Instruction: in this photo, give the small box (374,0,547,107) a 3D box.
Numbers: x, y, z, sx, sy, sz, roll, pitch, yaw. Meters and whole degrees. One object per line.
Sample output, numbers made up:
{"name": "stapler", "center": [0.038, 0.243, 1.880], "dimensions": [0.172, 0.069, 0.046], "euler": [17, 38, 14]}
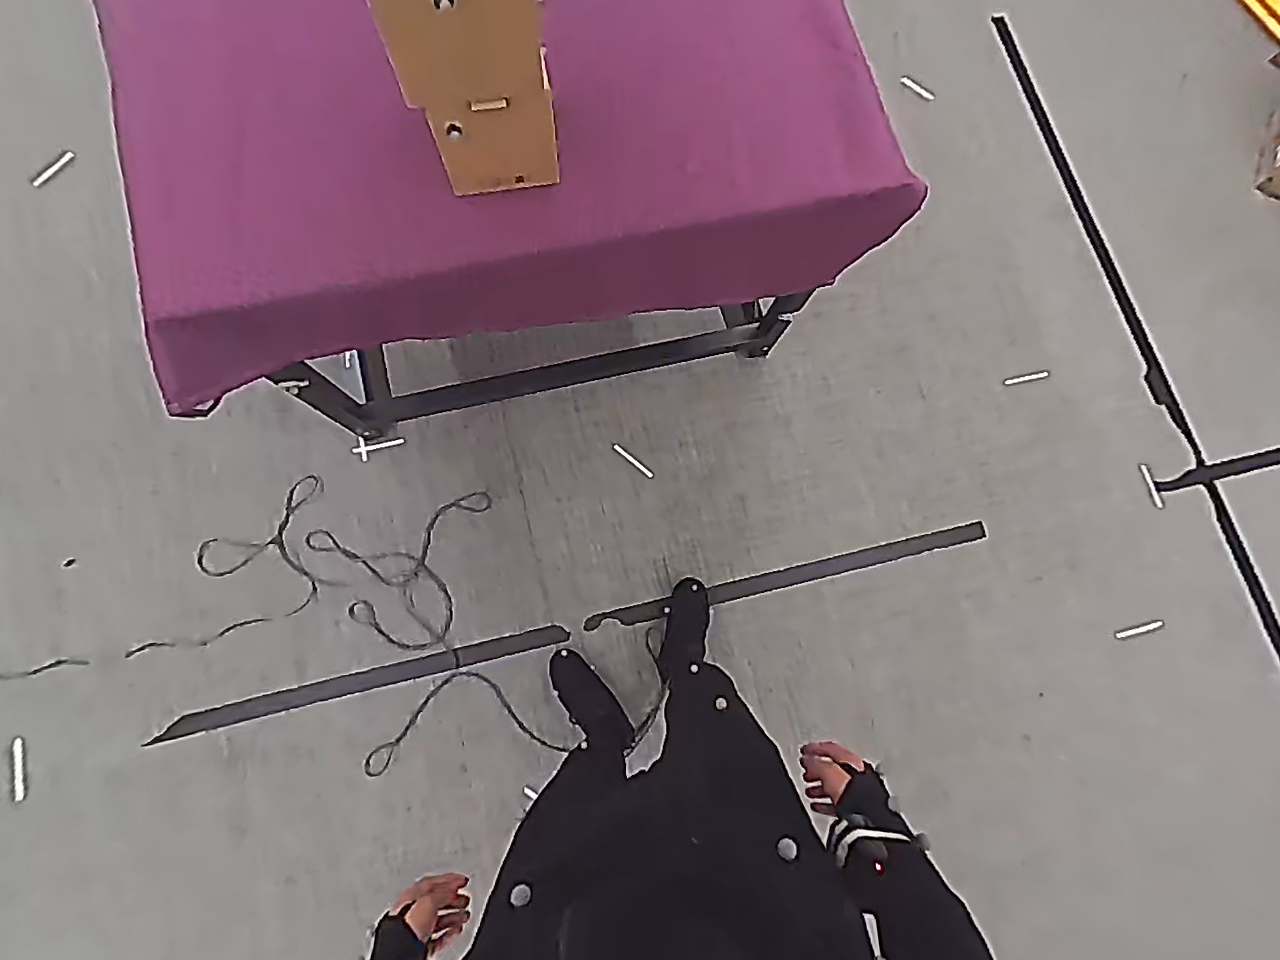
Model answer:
{"name": "small box", "center": [-0.213, -0.573, 0.629], "dimensions": [0.179, 0.176, 0.168], "euler": [-11, 80, -7]}
